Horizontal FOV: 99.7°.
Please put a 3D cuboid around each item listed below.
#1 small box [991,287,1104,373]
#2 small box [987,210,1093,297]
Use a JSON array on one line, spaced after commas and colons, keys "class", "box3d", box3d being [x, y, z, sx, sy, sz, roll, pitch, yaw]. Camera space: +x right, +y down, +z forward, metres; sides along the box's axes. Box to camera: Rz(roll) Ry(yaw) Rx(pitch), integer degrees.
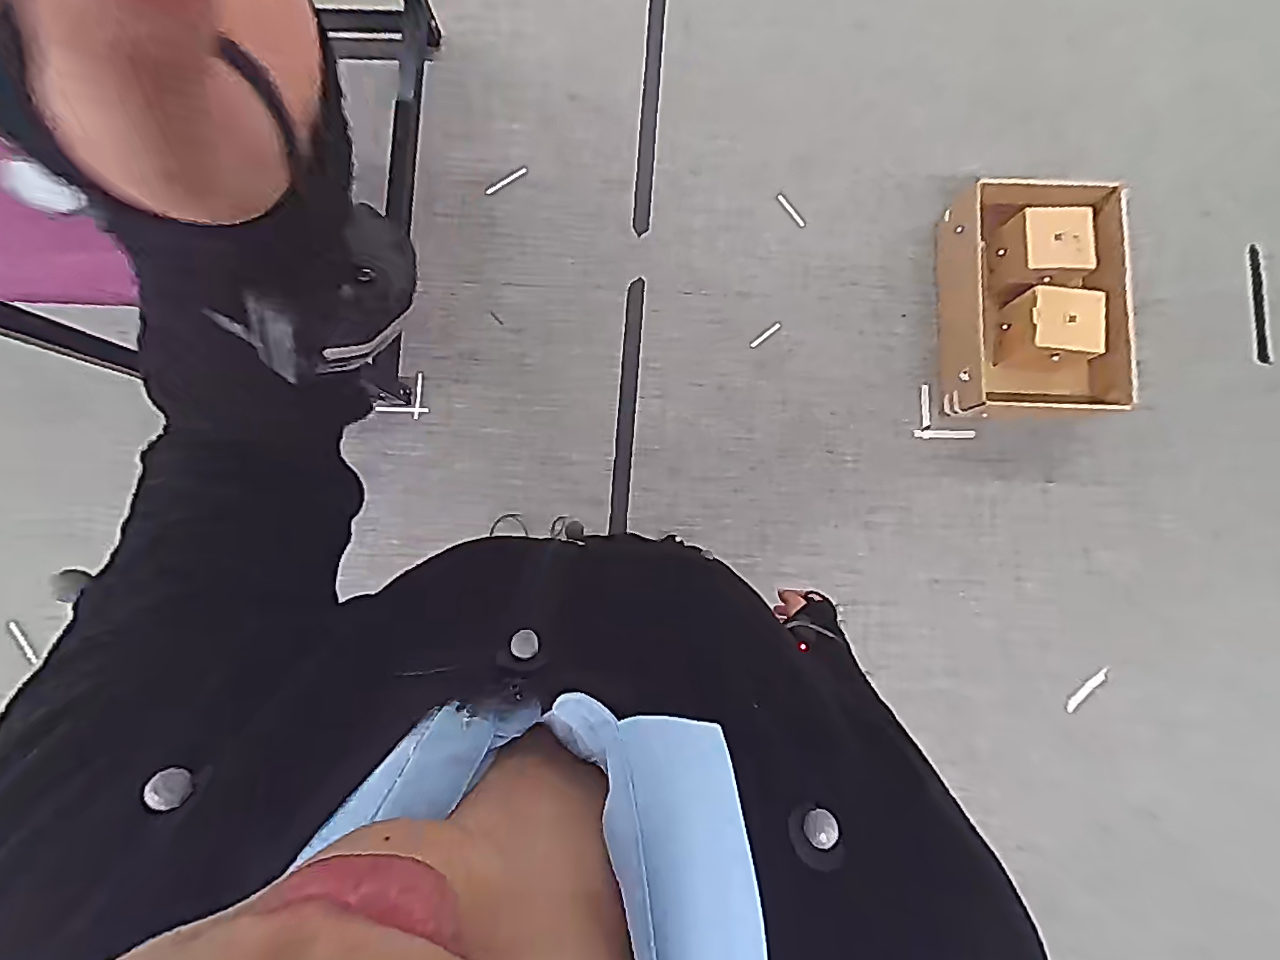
[{"class": "small box", "box3d": [1.090, -0.395, 1.455, 0.179, 0.176, 0.168, 7, 83, 1]}, {"class": "small box", "box3d": [1.078, -0.612, 1.475, 0.179, 0.176, 0.168, 0, 86, 0]}]
